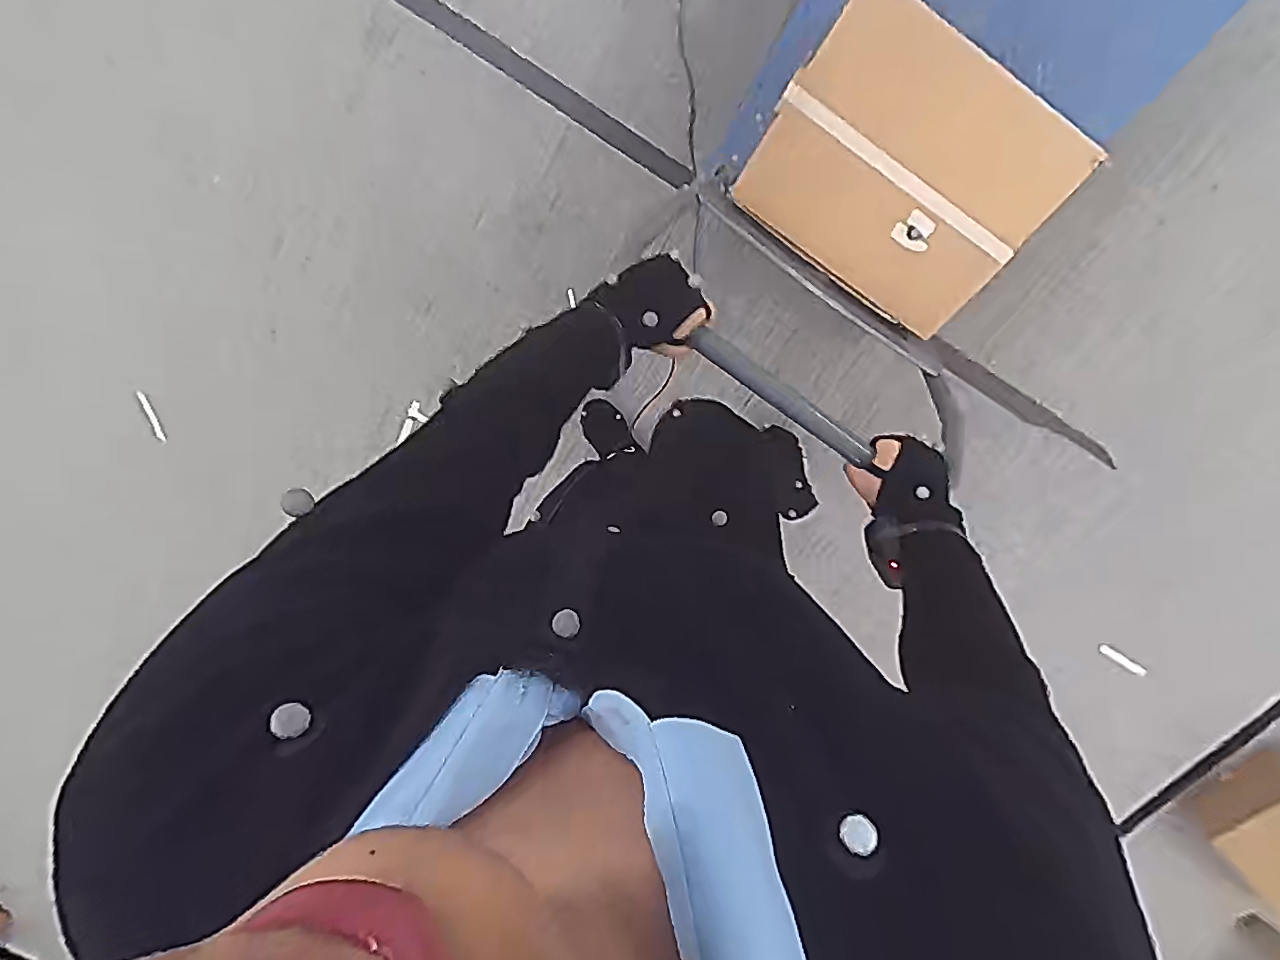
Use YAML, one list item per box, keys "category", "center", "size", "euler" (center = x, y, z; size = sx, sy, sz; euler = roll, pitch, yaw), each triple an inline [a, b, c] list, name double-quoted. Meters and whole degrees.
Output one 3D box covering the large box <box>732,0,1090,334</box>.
- category: "large box"
  center: [0.419, -0.526, 0.936]
  size: [0.408, 0.320, 0.320]
  euler: [35, 124, -6]
